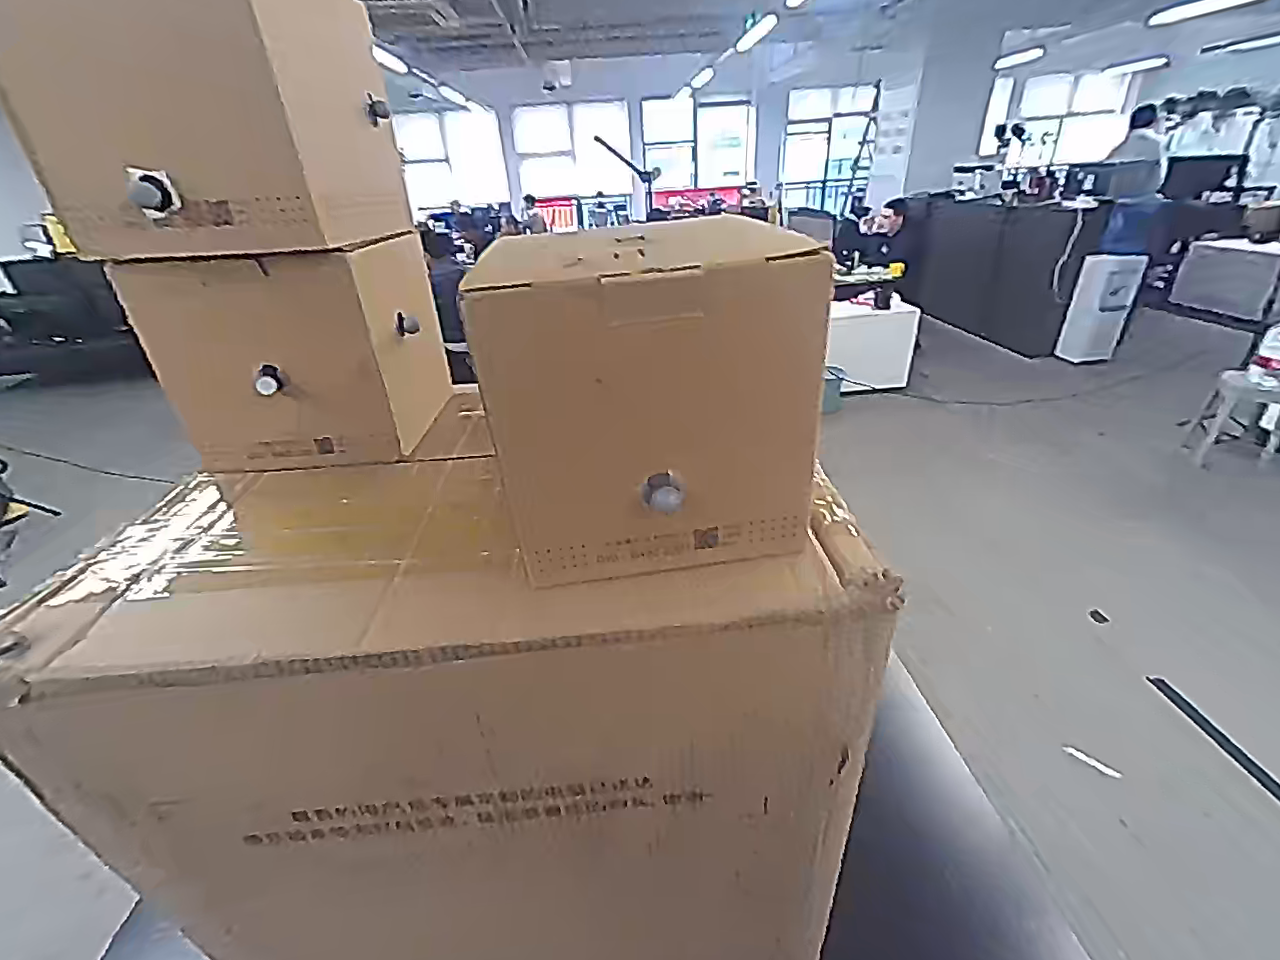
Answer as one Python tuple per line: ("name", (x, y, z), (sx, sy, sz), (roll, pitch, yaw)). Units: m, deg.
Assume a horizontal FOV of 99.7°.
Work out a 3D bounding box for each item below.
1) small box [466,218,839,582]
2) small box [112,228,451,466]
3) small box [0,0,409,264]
("small box", (0.004, -0.061, 0.343), (0.168, 0.176, 0.179), (-8, 32, -3))
("small box", (-0.282, -0.120, 0.482), (0.168, 0.176, 0.179), (-4, 30, -2))
("small box", (-0.286, -0.255, 0.388), (0.168, 0.176, 0.179), (-4, 30, 0))
